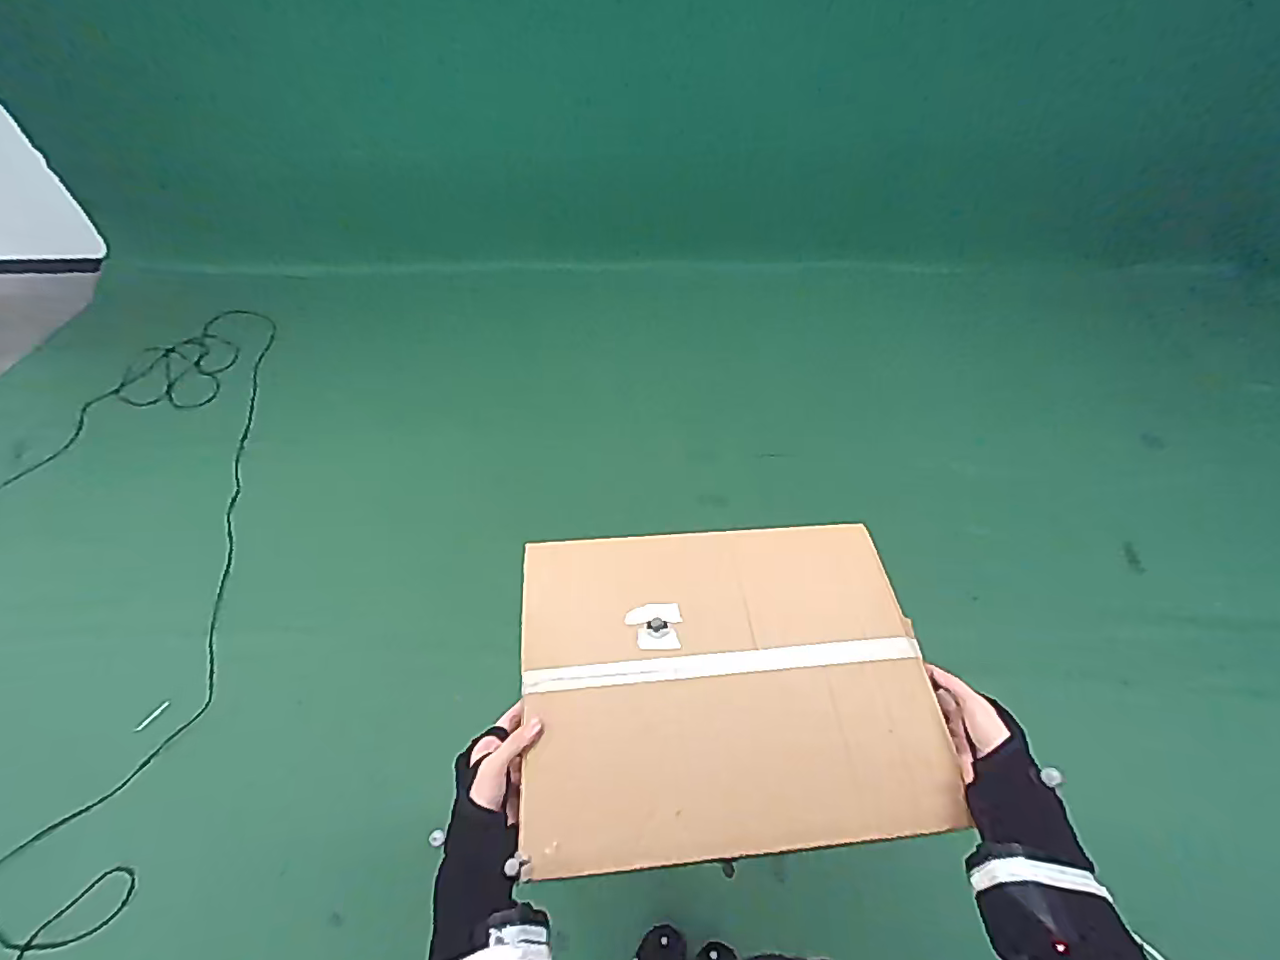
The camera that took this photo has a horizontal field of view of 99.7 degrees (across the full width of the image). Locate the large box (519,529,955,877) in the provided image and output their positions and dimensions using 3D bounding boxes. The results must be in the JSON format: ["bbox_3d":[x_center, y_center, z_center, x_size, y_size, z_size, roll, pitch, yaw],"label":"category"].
[{"bbox_3d":[0.076,0.281,0.681,0.408,0.320,0.320,-3,54,-5],"label":"large box"}]
